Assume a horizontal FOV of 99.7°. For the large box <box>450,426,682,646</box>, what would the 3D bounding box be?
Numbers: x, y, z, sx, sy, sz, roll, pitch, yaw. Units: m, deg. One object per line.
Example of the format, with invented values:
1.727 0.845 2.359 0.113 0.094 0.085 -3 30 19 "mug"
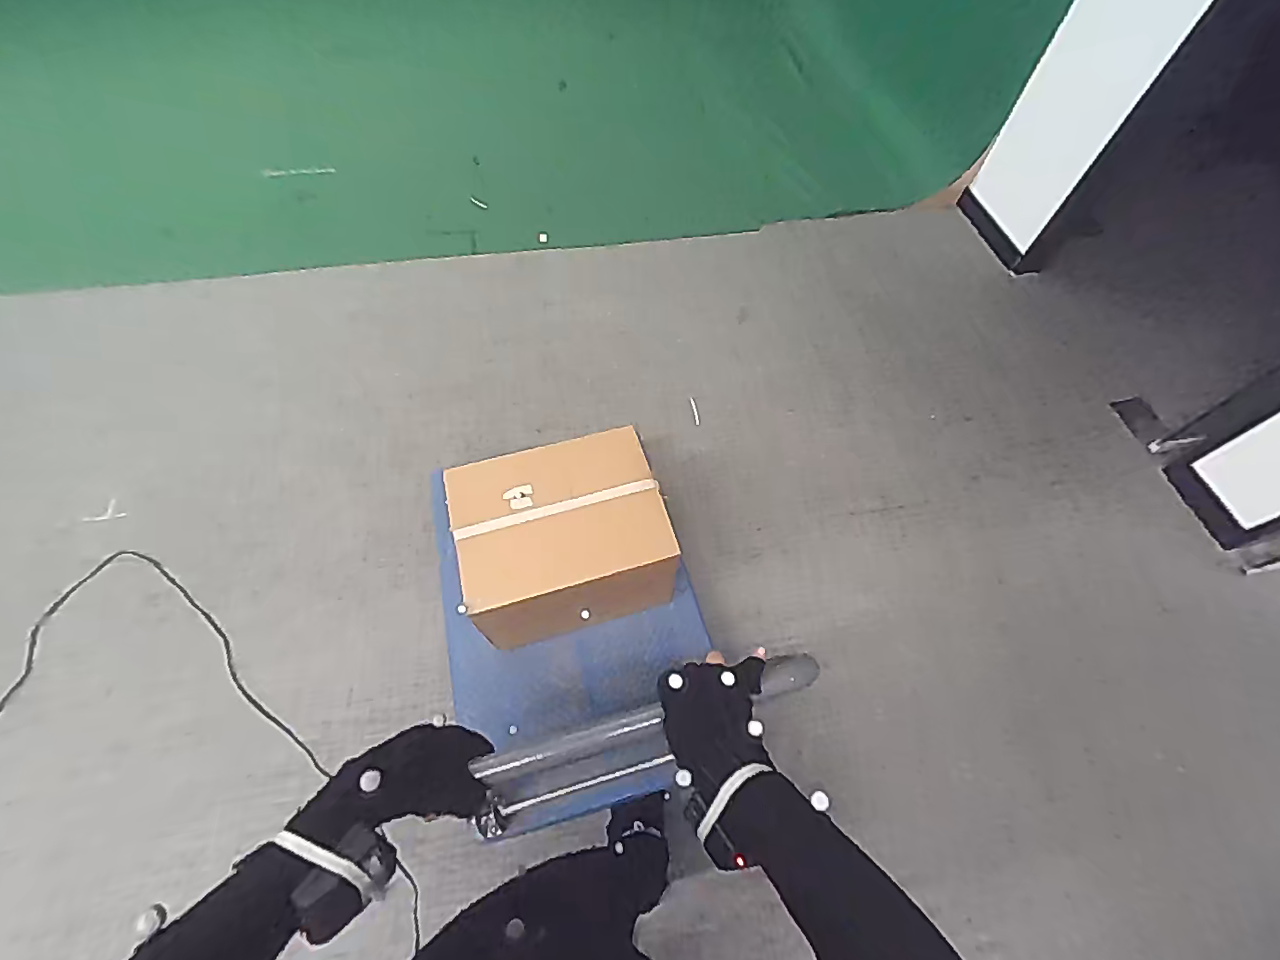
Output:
-0.154 0.132 1.195 0.408 0.320 0.320 -16 62 -10 "large box"
